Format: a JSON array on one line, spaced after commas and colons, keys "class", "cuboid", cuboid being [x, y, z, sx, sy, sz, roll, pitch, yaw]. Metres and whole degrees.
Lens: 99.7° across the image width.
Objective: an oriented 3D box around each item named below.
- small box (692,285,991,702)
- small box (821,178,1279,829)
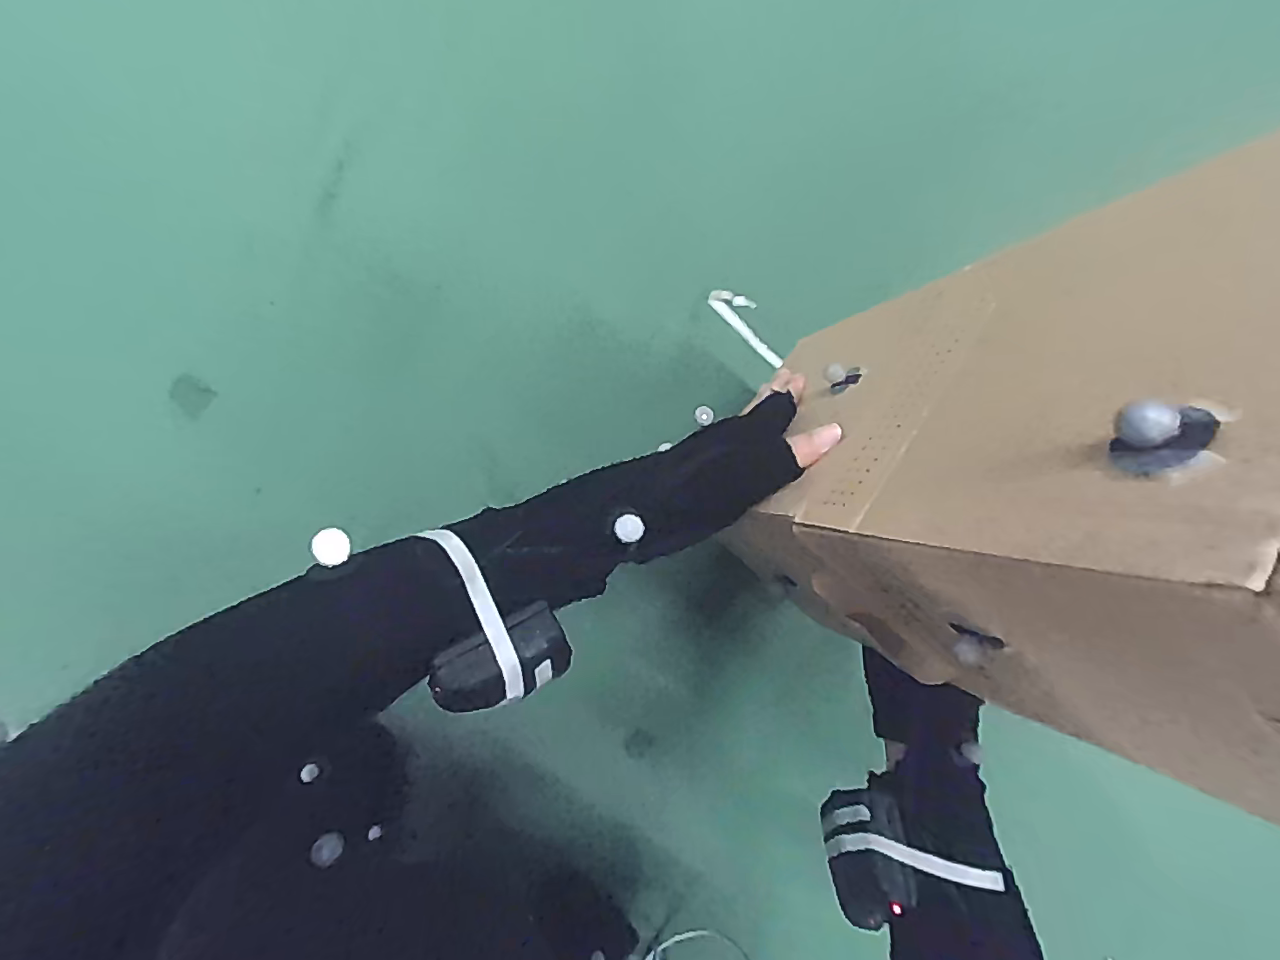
[{"class": "small box", "cuboid": [0.165, 0.006, 0.375, 0.168, 0.176, 0.179, 42, 80, -13]}, {"class": "small box", "cuboid": [0.211, 0.007, 0.218, 0.168, 0.176, 0.179, 39, 80, -14]}]
